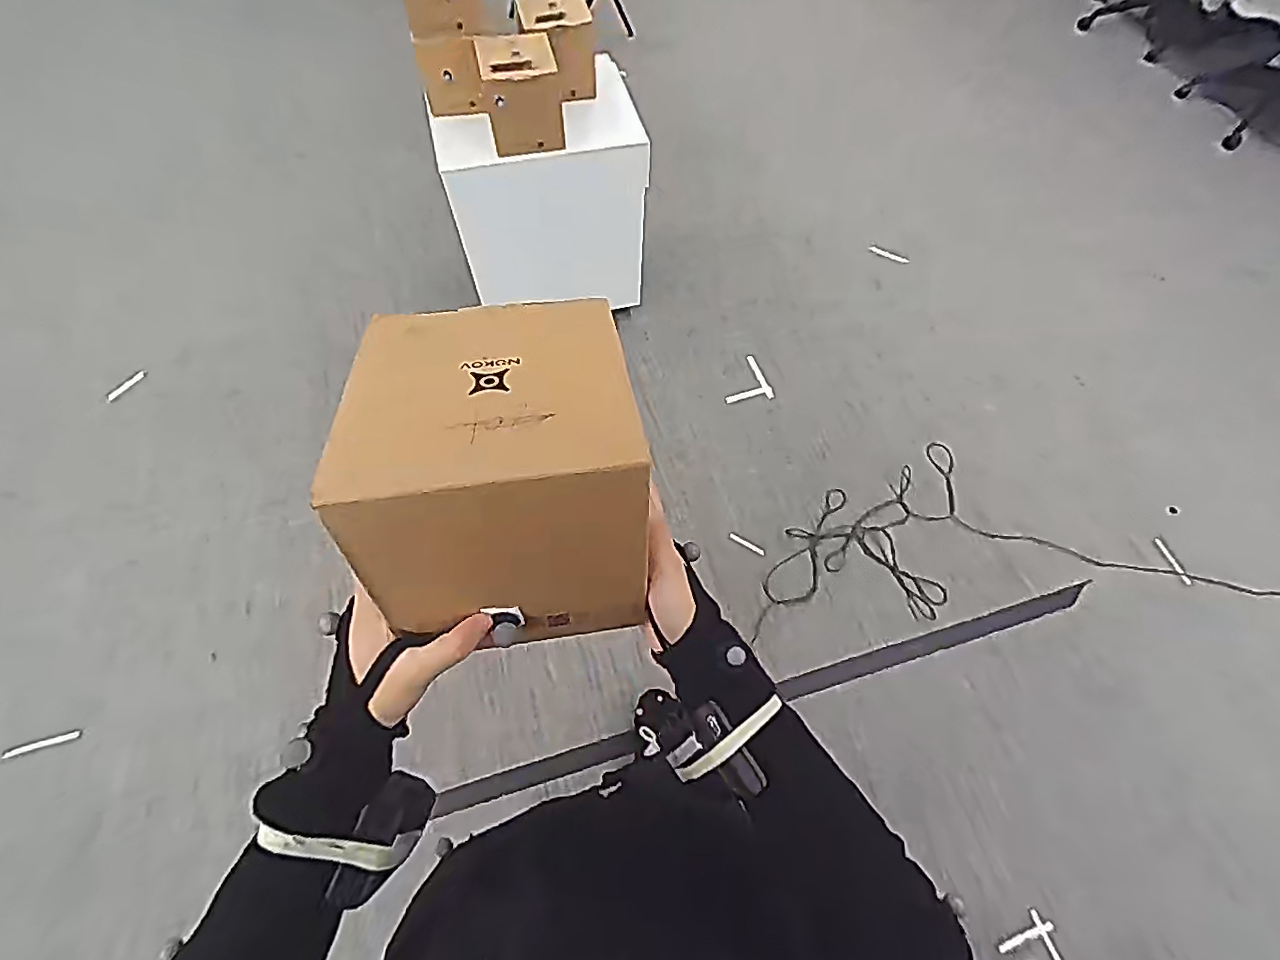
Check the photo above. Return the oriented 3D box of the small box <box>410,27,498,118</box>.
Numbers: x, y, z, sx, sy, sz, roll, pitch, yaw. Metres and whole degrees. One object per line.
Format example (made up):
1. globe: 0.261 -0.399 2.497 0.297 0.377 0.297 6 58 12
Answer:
1. small box: -0.450 -1.015 1.318 0.168 0.176 0.179 -10 65 -7

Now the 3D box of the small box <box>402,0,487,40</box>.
1. small box: -0.439 -1.094 1.175 0.168 0.176 0.179 -11 66 -8

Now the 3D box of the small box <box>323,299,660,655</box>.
1. small box: -0.085 -0.004 0.378 0.168 0.176 0.179 -7 48 -7
